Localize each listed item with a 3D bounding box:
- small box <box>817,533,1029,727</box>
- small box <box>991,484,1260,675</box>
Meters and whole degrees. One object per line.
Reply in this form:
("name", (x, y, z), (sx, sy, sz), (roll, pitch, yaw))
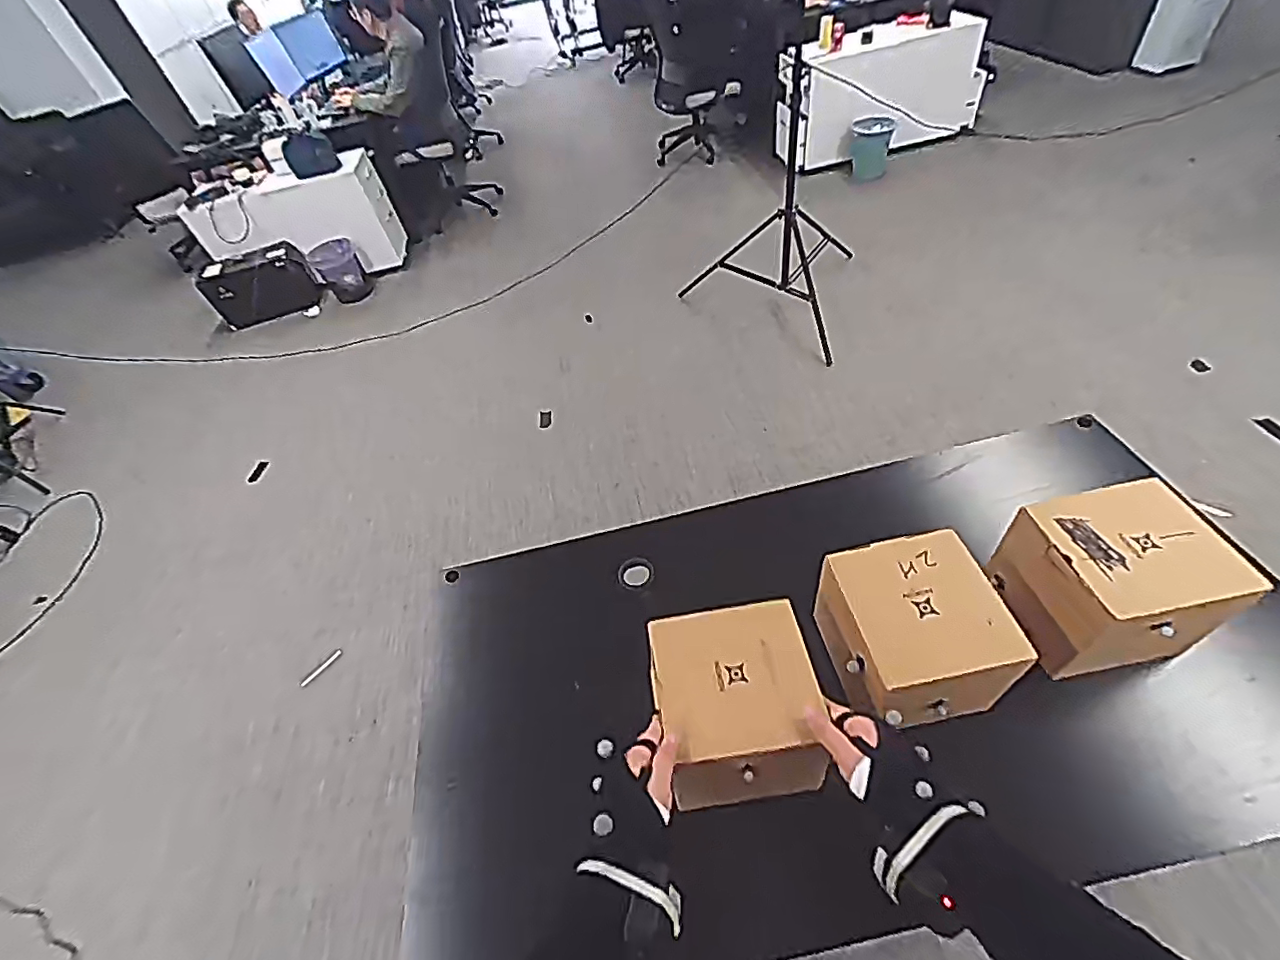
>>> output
("small box", (0.340, 0.199, 0.694), (0.168, 0.176, 0.179), (-12, 48, 1))
("small box", (0.593, 0.133, 0.699), (0.179, 0.176, 0.168), (-12, 48, 1))
